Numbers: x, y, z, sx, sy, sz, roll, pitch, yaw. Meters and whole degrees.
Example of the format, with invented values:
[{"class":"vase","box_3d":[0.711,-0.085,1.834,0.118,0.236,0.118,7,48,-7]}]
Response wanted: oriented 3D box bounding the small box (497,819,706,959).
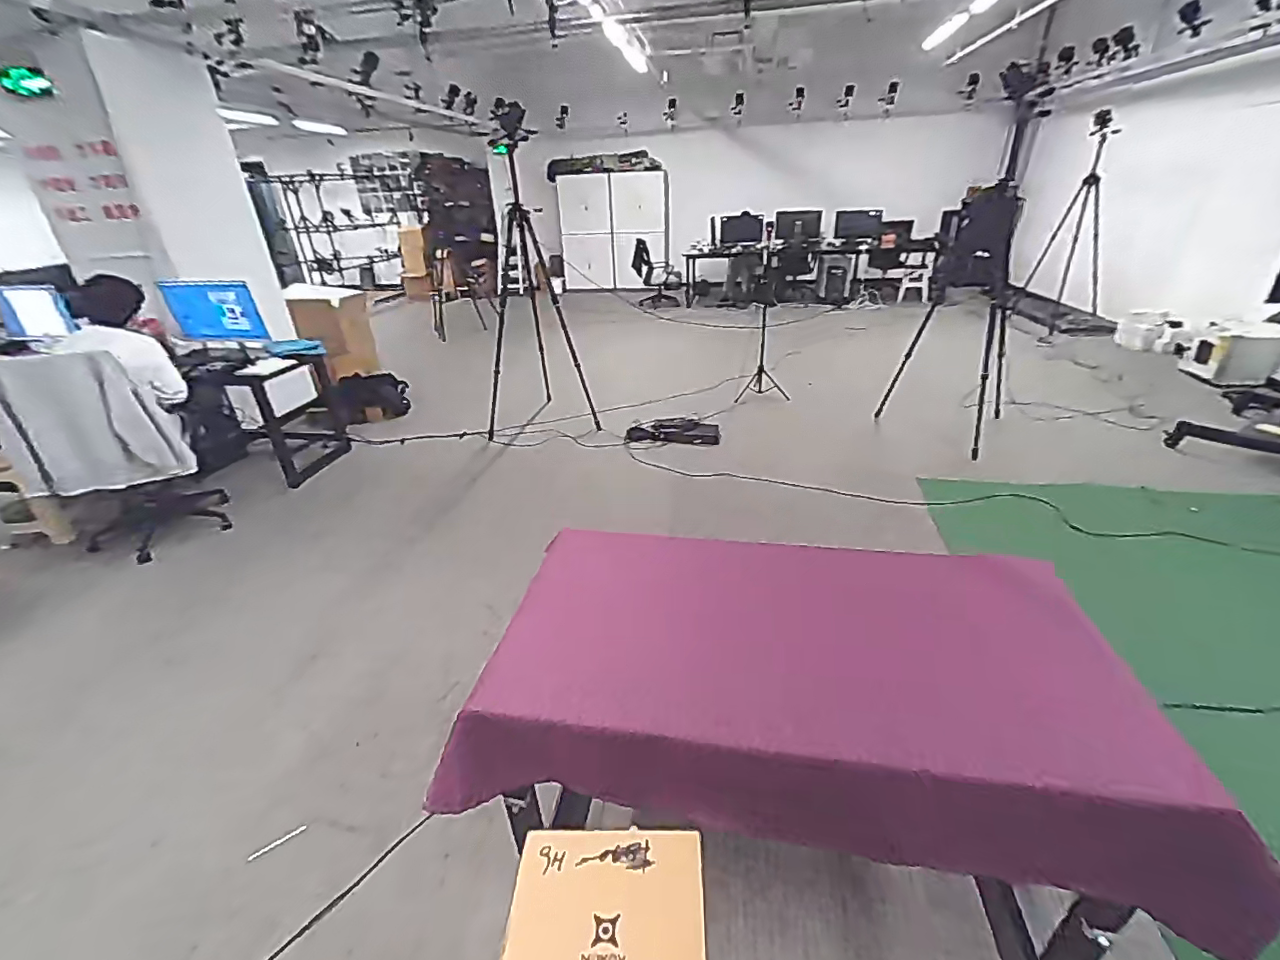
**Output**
[{"class":"small box","box_3d":[-0.025,0.437,0.481,0.168,0.176,0.179,-3,30,5]}]
